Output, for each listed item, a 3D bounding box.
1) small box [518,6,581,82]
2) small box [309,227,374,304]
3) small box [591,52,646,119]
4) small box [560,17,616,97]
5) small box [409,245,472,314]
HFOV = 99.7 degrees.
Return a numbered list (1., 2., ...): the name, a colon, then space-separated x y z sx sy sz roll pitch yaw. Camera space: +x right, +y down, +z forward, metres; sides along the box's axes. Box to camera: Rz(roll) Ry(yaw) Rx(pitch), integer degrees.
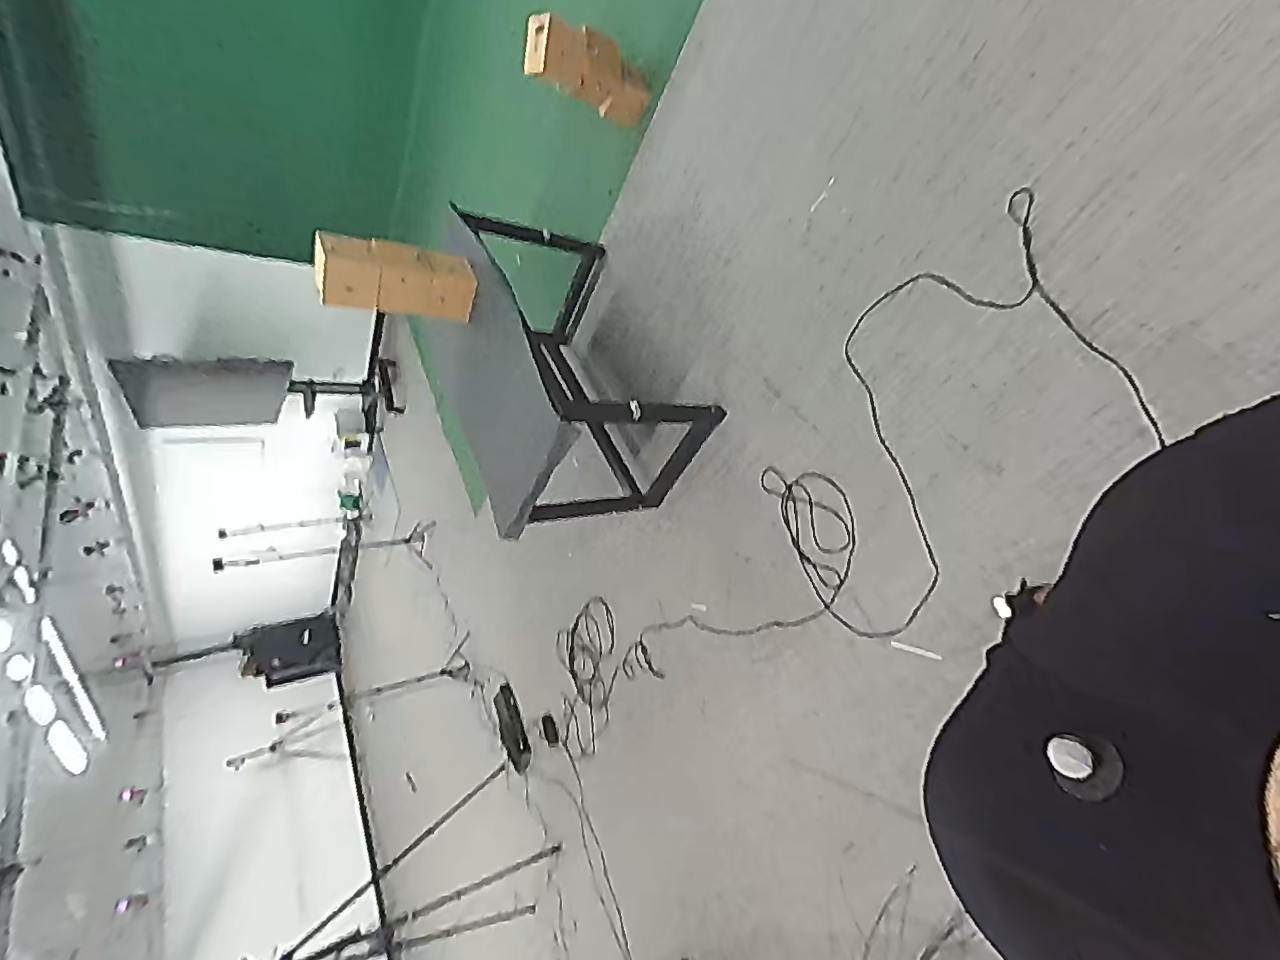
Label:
1. small box: -0.341 -1.646 2.049 0.168 0.176 0.179 37 123 41
2. small box: -0.997 -0.710 1.806 0.168 0.176 0.179 57 135 30
3. small box: -0.100 -1.660 2.271 0.168 0.176 0.179 -36 66 47
4. small box: -0.210 -1.664 2.147 0.168 0.176 0.179 -5 90 50
5. small box: -0.740 -0.740 2.009 0.168 0.176 0.179 59 136 28
